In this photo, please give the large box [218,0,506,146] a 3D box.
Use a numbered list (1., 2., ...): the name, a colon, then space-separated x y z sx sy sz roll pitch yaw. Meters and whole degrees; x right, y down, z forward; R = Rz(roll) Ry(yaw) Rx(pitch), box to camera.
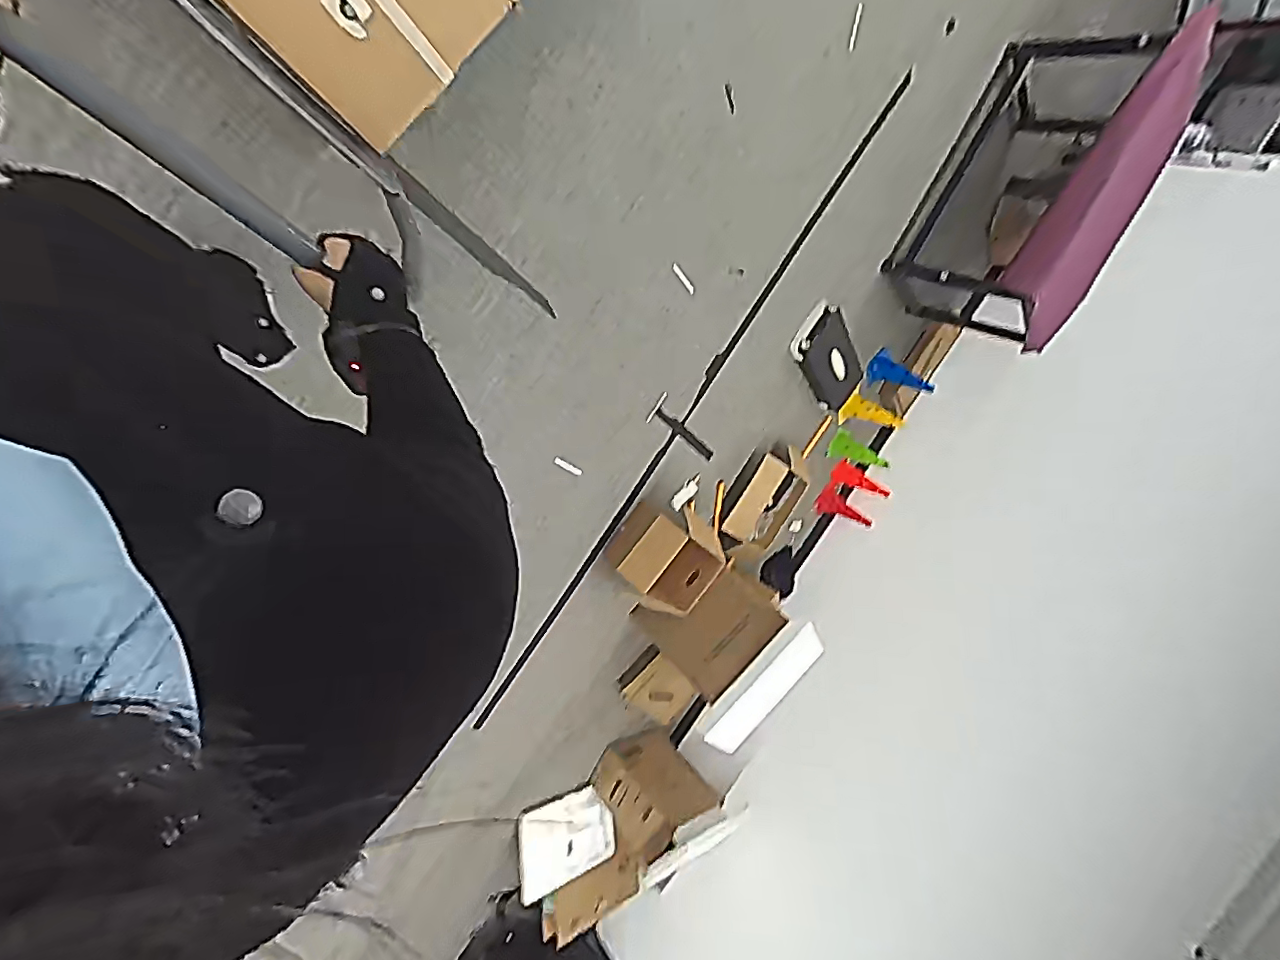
1. large box: -0.477 -0.793 0.763 0.320 0.320 0.408 -41 143 8
